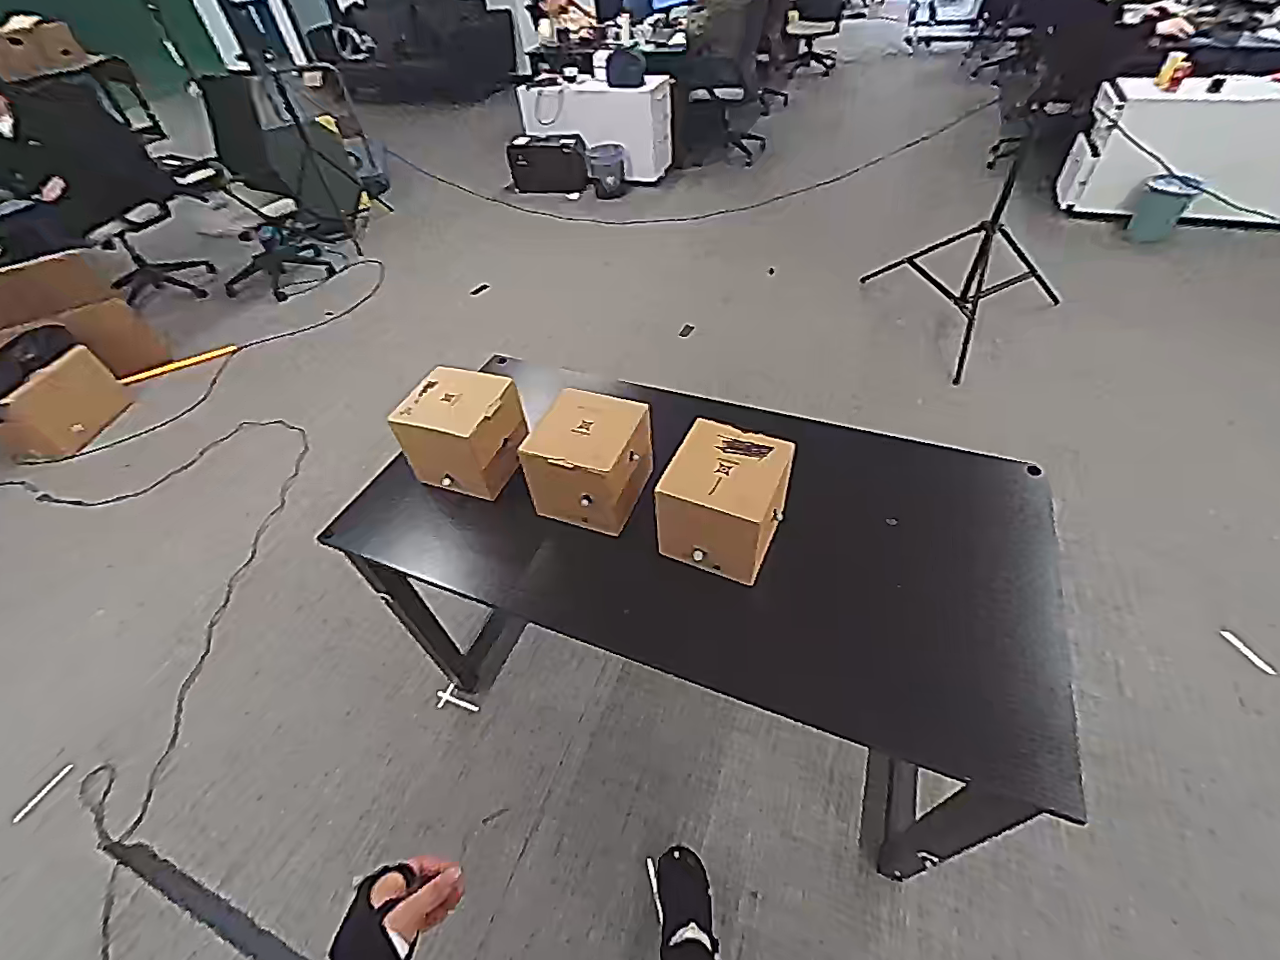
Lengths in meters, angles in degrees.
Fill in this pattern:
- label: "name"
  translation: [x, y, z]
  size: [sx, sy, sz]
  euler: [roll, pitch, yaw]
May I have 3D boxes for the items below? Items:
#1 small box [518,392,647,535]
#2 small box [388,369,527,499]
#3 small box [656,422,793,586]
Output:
- label: "small box"
  translation: [-0.090, -0.028, 0.968]
  size: [0.168, 0.176, 0.179]
  euler: [14, 49, 16]
- label: "small box"
  translation: [-0.335, -0.085, 1.040]
  size: [0.179, 0.176, 0.168]
  euler: [13, 49, 15]
- label: "small box"
  translation: [0.136, 0.039, 0.884]
  size: [0.168, 0.176, 0.179]
  euler: [18, 52, 20]
